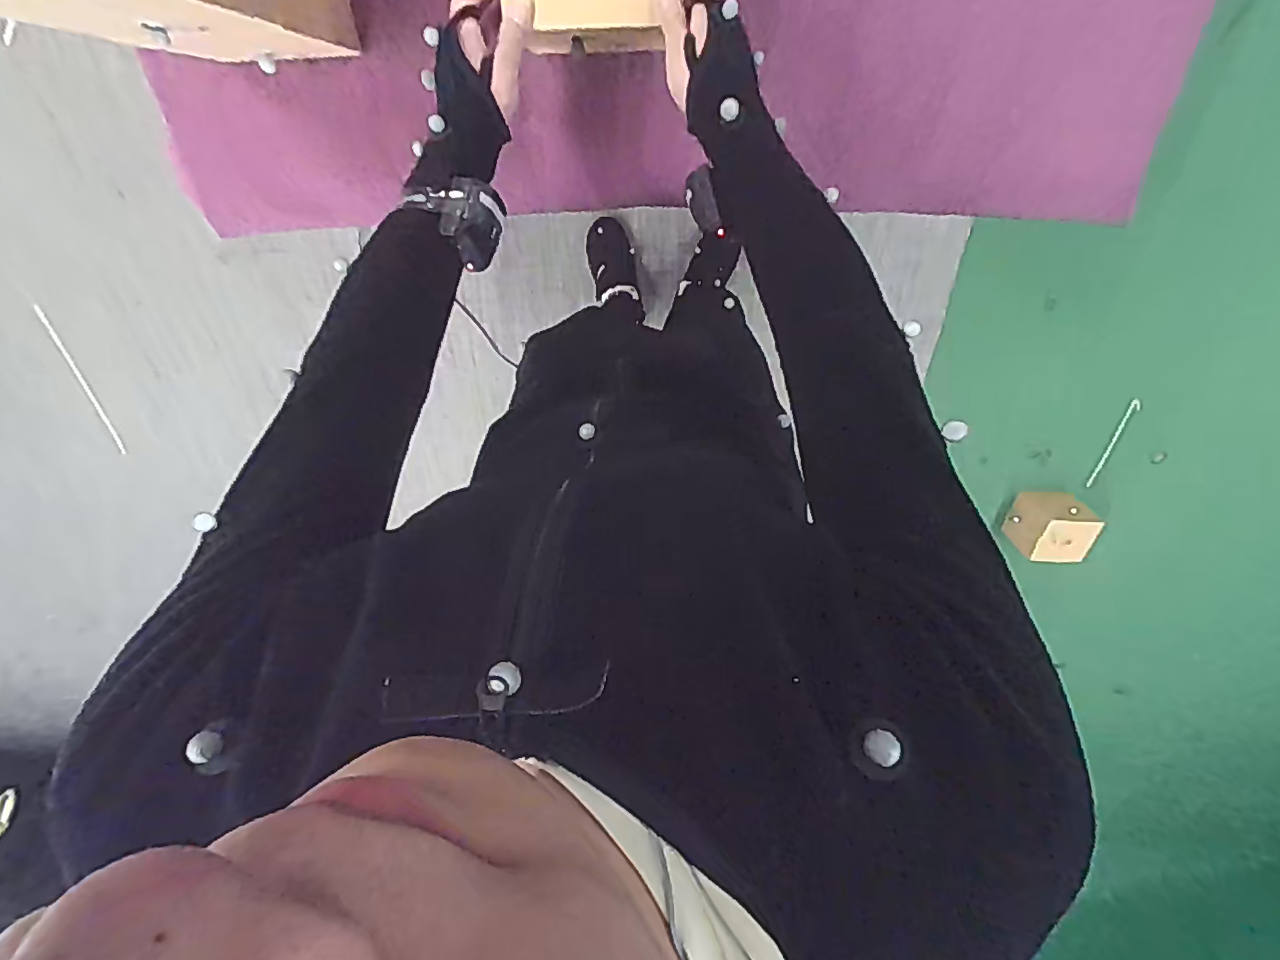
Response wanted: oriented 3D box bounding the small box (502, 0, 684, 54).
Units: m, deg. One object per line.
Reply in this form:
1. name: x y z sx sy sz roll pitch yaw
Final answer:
1. small box: -0.042 -0.522 0.513 0.168 0.176 0.179 -2 121 1

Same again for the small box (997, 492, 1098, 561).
1. small box: 1.340 0.152 1.791 0.179 0.176 0.168 2 121 -2

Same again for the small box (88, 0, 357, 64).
1. small box: -0.402 -0.514 0.508 0.168 0.176 0.179 -2 122 1
